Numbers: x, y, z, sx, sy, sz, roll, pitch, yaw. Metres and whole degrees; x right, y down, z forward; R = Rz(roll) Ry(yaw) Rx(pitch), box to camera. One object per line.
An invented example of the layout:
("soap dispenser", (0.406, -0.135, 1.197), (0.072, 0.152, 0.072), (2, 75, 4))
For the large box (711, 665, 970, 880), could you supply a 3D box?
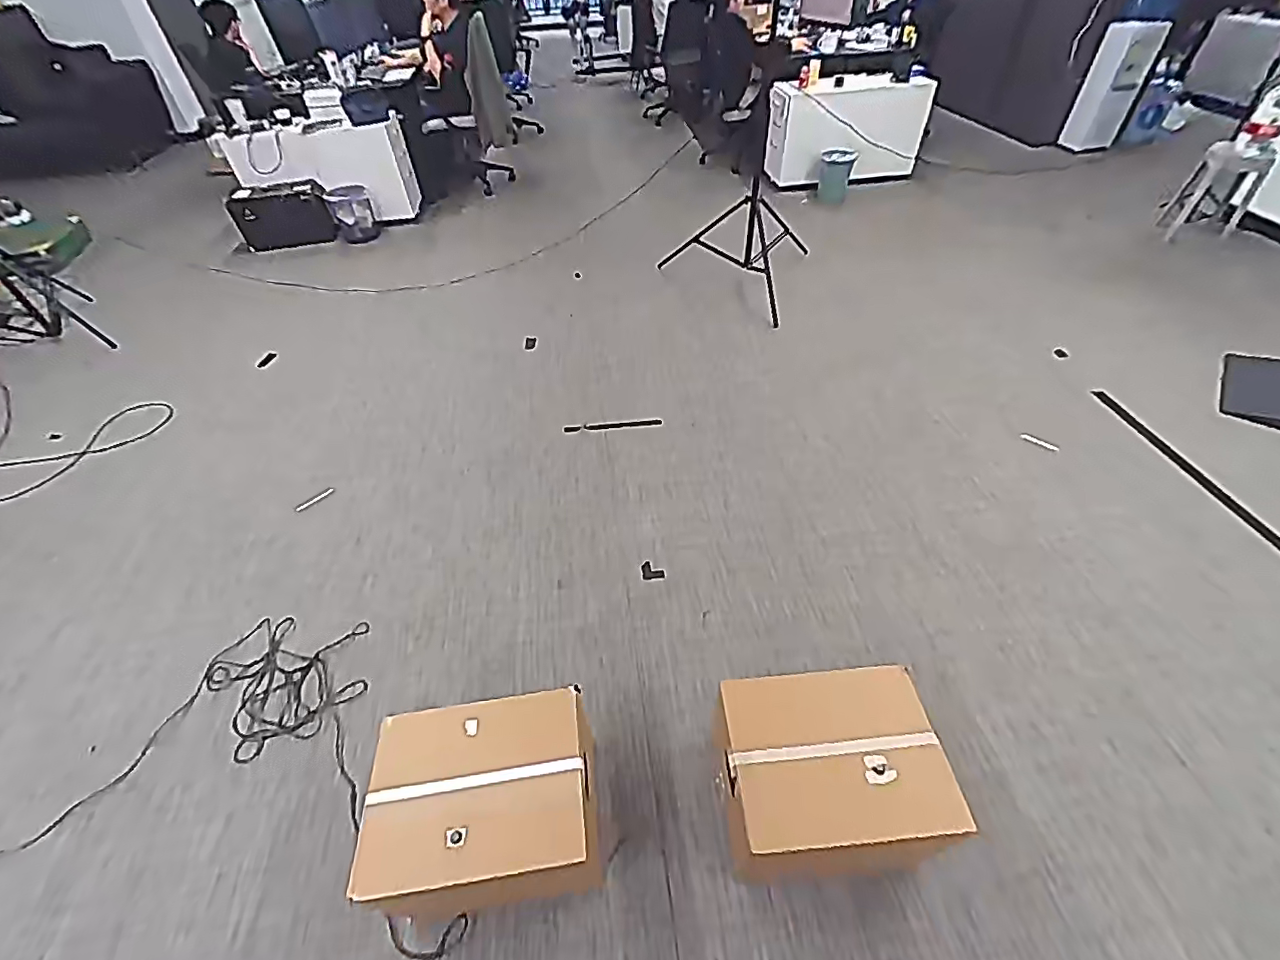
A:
("large box", (0.385, 0.629, 1.165), (0.408, 0.320, 0.320), (-4, 46, -2))
